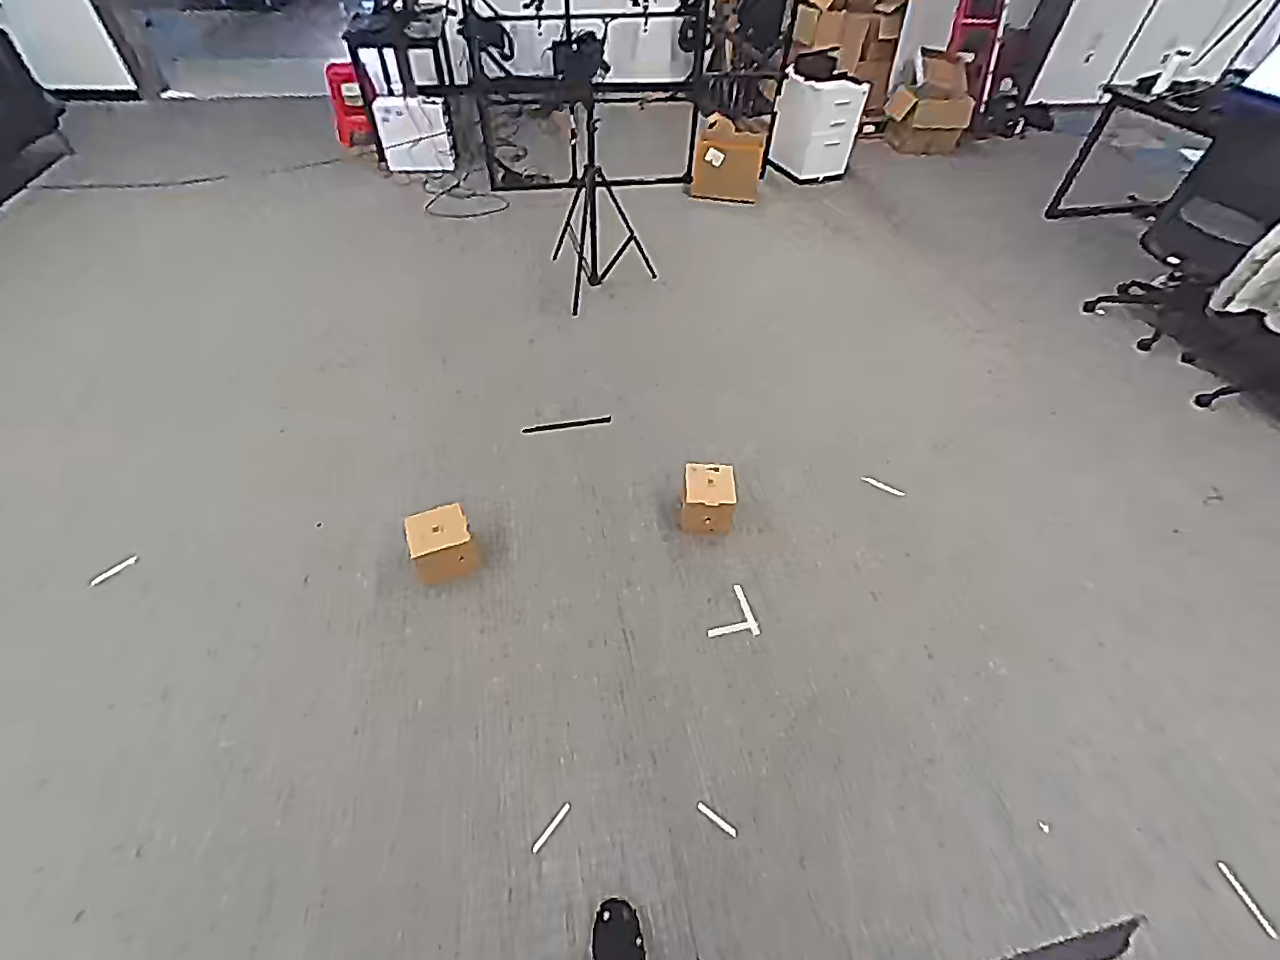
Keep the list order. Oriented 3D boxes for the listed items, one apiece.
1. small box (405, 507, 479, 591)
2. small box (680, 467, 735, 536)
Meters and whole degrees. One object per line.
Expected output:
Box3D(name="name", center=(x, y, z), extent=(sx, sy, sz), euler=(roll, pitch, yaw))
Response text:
Box3D(name="small box", center=(-0.618, 0.218, 1.705), extent=(0.179, 0.176, 0.168), euler=(-18, 50, -17))
Box3D(name="small box", center=(0.230, 0.078, 1.869), extent=(0.168, 0.176, 0.179), euler=(3, 49, -1))
